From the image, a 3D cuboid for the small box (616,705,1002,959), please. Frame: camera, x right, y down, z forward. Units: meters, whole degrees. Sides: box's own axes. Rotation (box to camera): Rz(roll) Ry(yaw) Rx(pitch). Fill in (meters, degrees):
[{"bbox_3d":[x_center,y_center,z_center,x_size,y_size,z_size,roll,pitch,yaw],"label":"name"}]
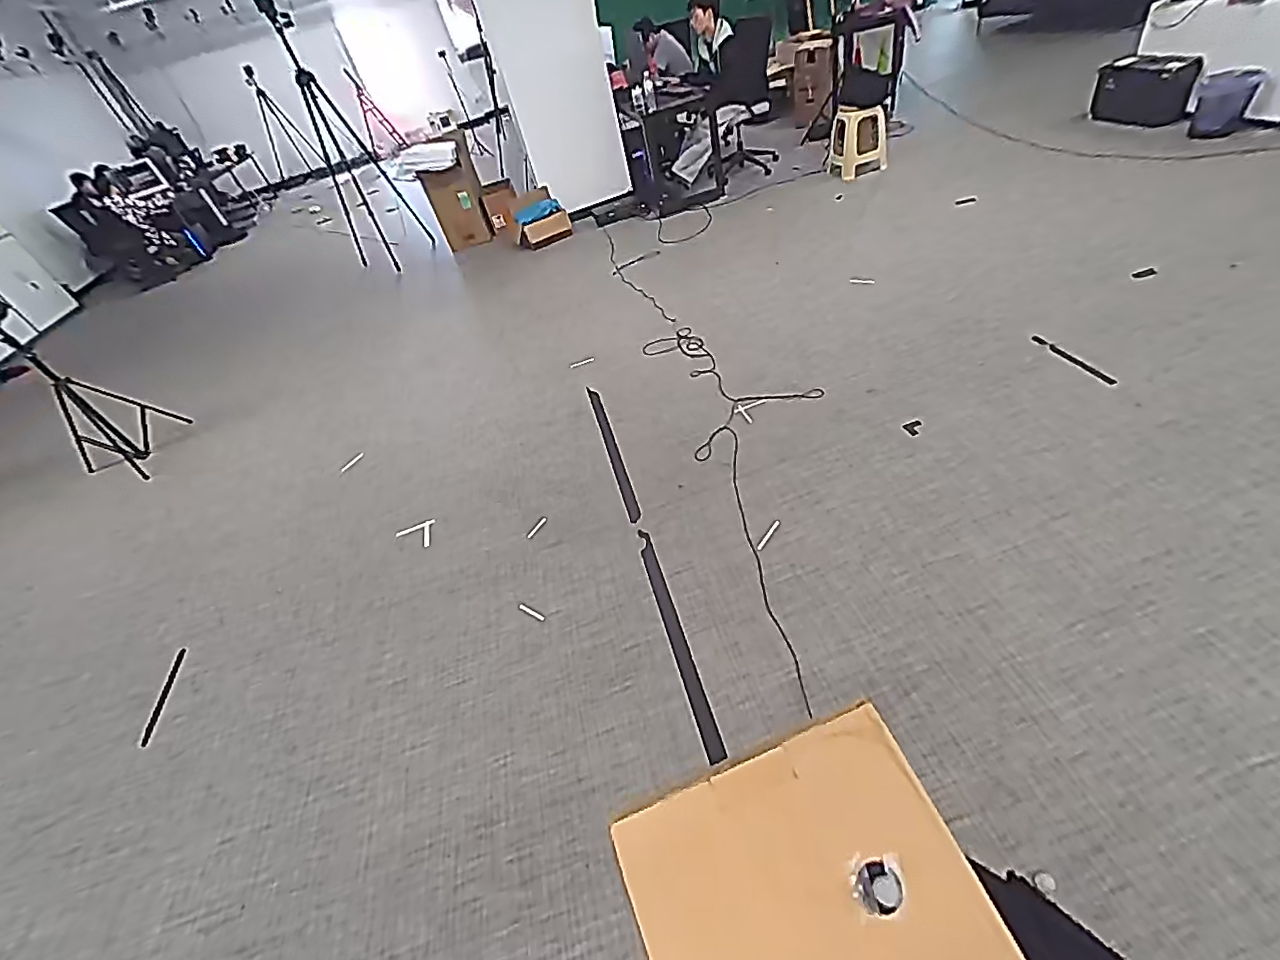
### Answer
[{"bbox_3d":[0.097,0.270,0.349,0.168,0.179,0.176,-21,62,-7],"label":"small box"}]
